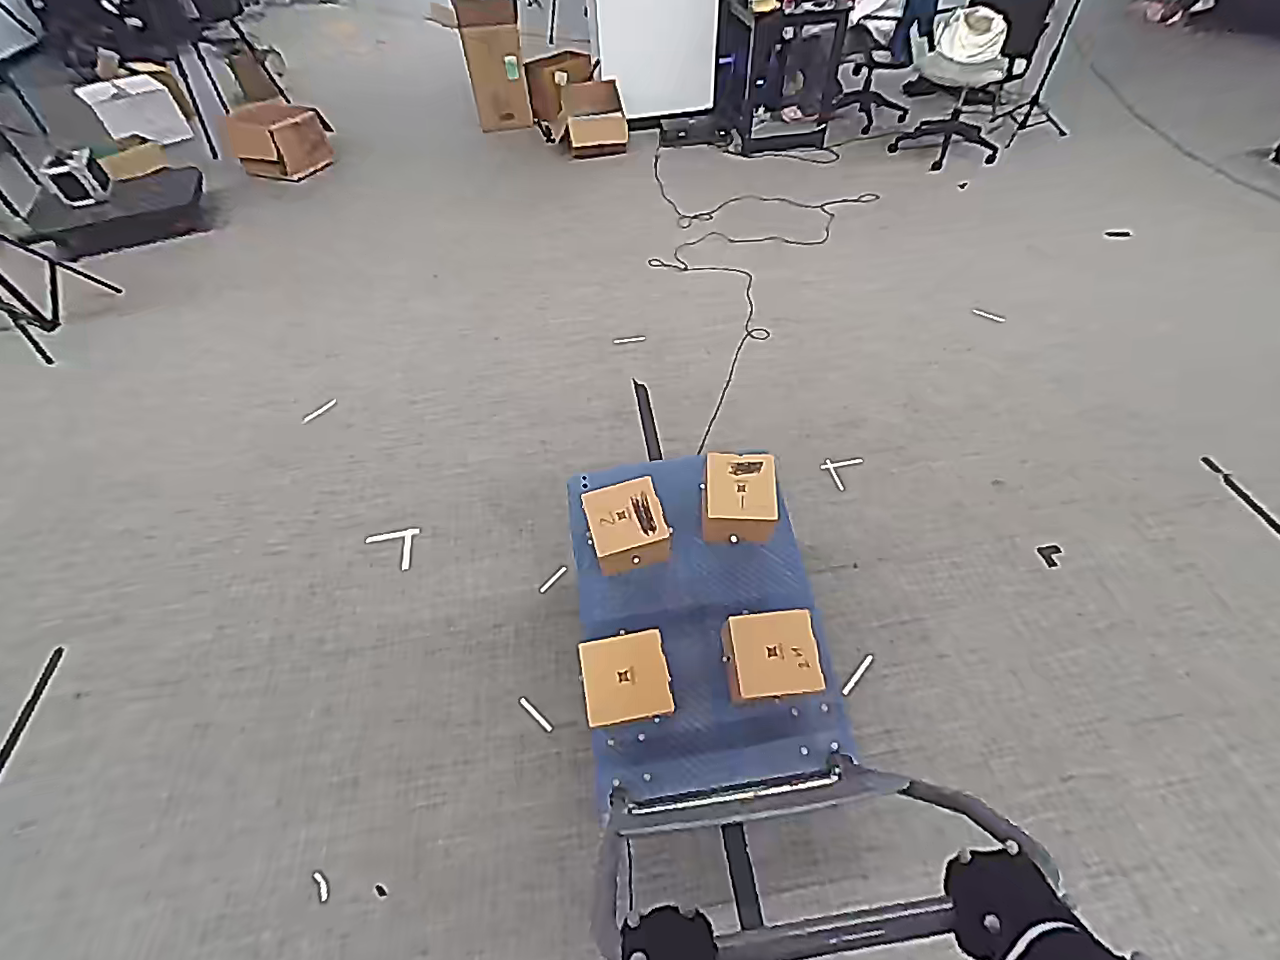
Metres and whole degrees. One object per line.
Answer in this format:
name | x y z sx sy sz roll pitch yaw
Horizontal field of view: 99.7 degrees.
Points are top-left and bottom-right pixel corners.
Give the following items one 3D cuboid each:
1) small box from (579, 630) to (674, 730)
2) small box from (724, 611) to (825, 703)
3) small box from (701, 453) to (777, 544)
small box | -0.029 0.441 1.177 0.179 0.176 0.168 -10 64 -5
small box | 0.284 0.395 1.193 0.179 0.176 0.168 -5 65 -1
small box | 0.242 0.049 1.361 0.168 0.176 0.179 2 65 2
